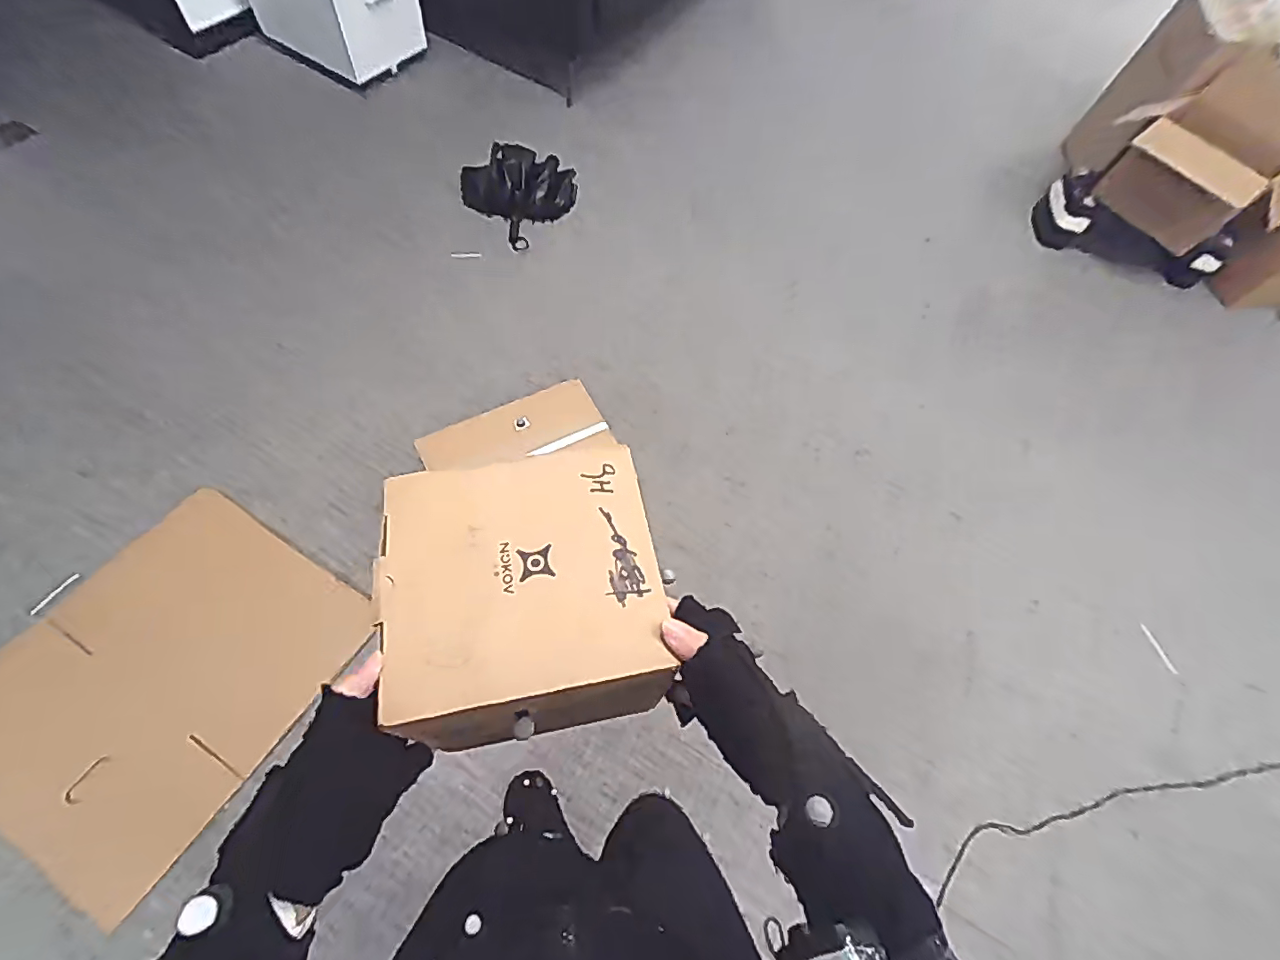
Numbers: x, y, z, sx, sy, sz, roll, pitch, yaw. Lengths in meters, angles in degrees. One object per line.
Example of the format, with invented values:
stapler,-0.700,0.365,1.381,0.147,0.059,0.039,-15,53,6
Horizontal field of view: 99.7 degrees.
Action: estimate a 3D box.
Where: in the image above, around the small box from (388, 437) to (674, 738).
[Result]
small box,-0.083,0.092,0.435,0.179,0.176,0.168,-11,58,-11
